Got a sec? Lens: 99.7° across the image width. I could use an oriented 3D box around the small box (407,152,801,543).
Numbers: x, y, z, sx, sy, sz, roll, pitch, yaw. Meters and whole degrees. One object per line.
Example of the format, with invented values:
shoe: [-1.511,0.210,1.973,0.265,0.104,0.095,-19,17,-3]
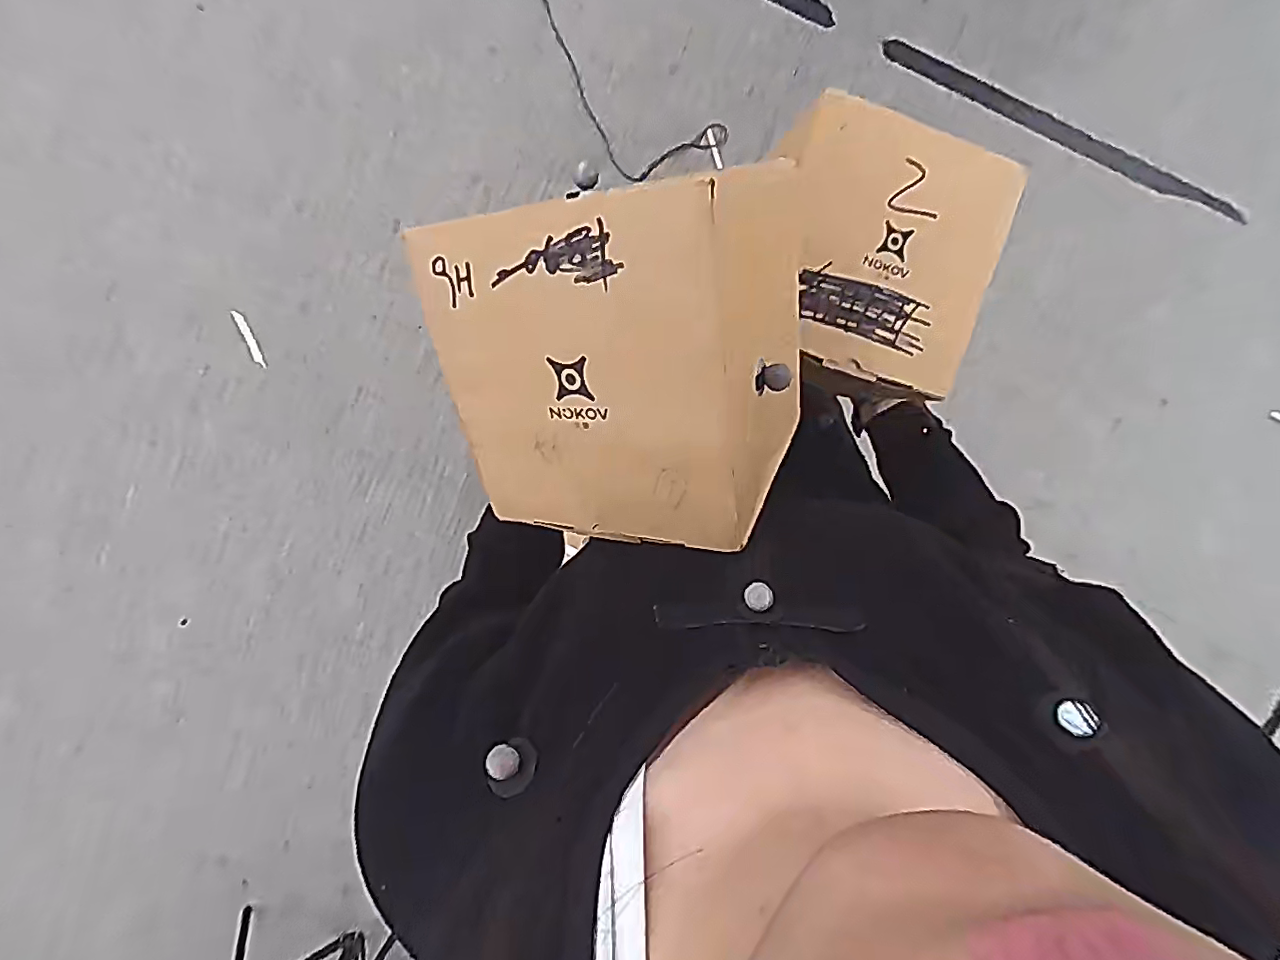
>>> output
small box: [0.003,-0.086,0.336,0.168,0.176,0.179,3,122,24]
